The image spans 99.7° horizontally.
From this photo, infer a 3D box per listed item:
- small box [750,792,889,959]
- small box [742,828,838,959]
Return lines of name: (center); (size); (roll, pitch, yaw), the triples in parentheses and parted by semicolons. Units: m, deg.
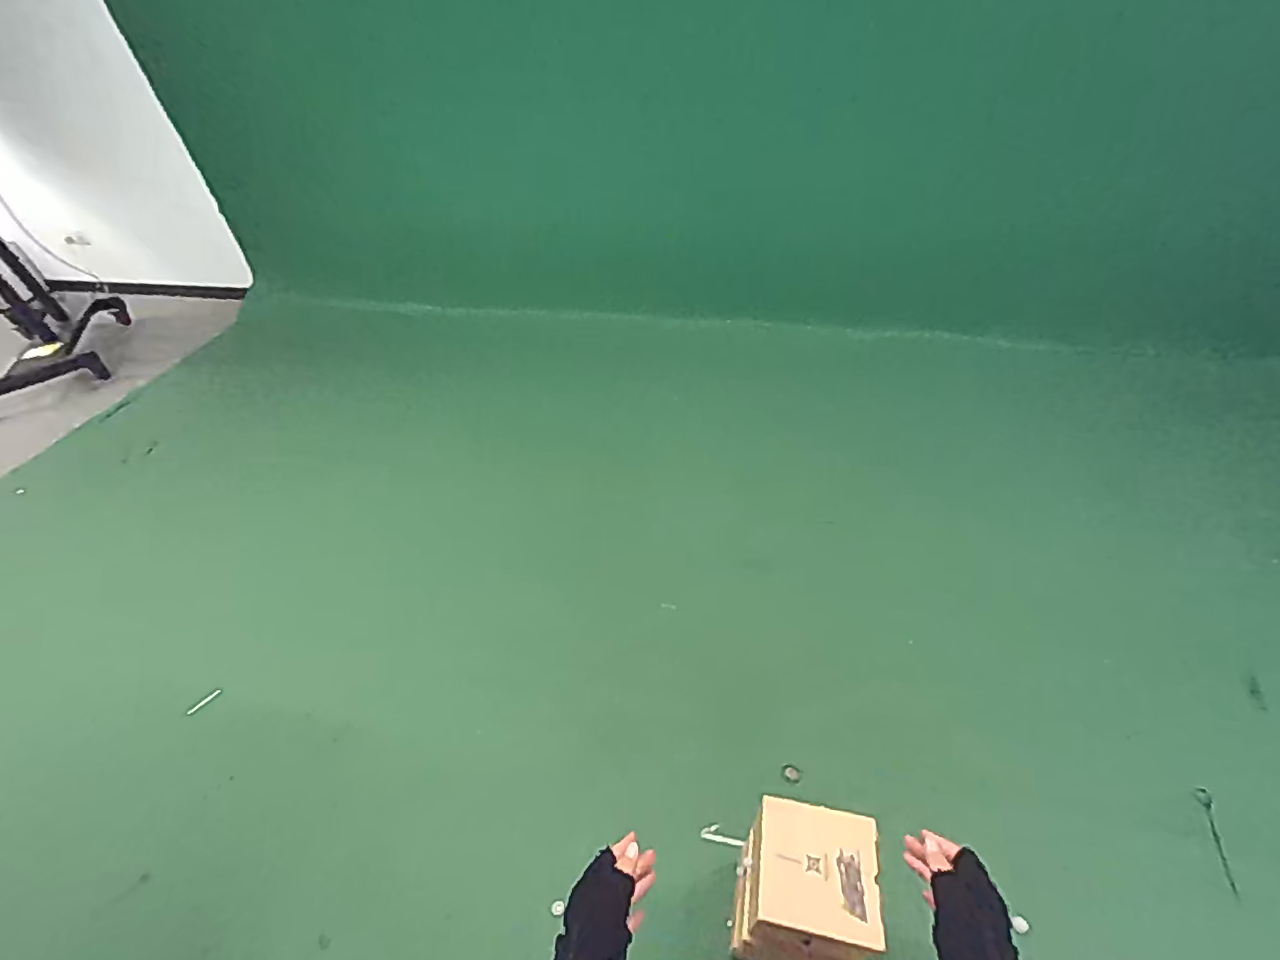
small box: (0.279, 0.633, 0.861); (0.179, 0.176, 0.168); (9, 44, 13)
small box: (0.280, 0.759, 0.971); (0.179, 0.176, 0.168); (7, 46, 12)
